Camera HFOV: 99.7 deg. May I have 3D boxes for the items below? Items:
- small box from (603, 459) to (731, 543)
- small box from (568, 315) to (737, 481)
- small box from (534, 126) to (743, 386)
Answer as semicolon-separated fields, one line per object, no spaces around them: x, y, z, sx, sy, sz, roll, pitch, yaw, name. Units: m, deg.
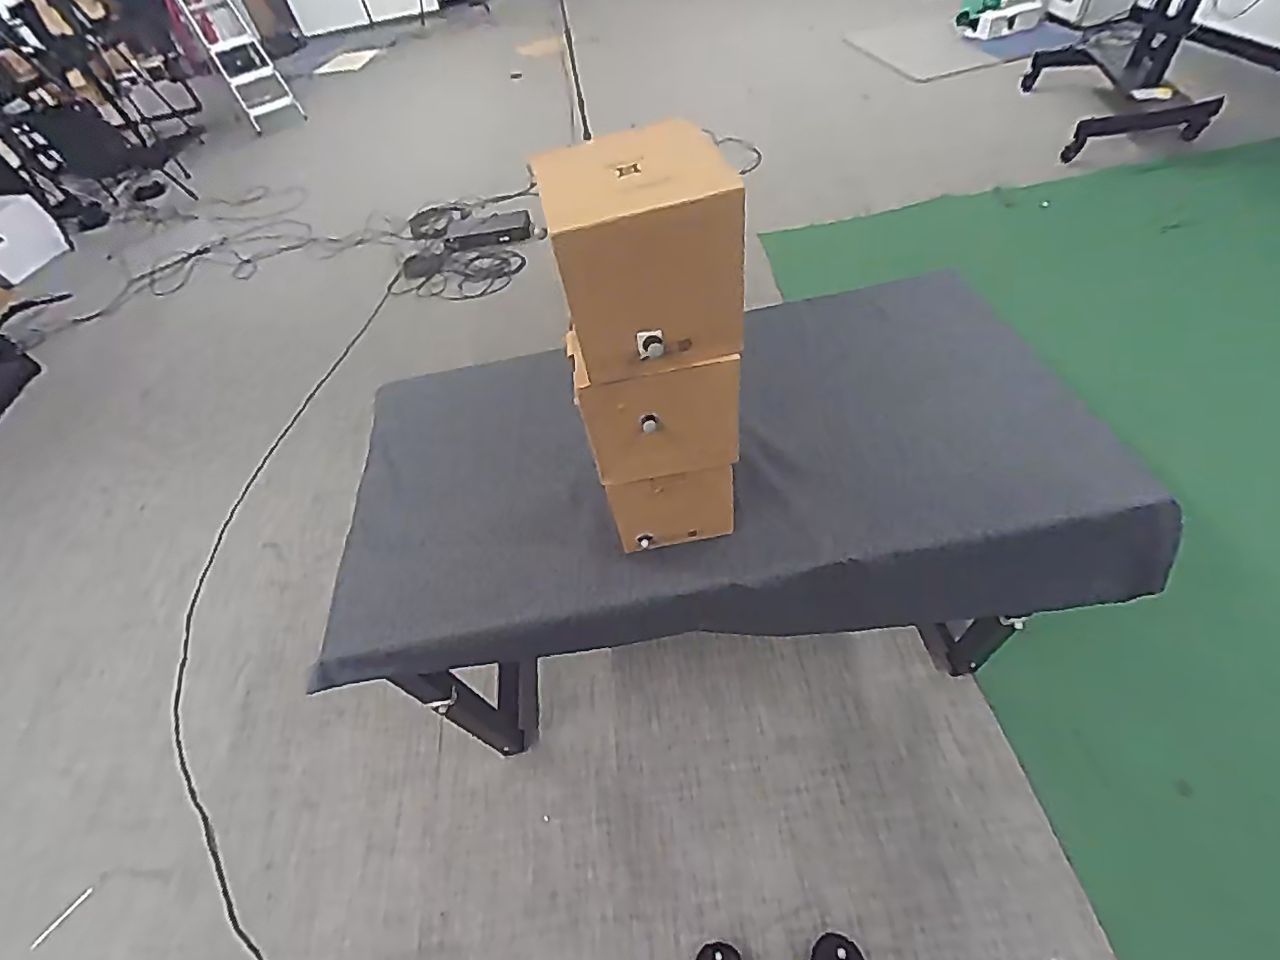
0.037;-0.022;0.807;0.168;0.176;0.179;-11;49;2;small box
0.018;-0.118;0.680;0.179;0.176;0.168;-12;48;-1;small box
-0.001;-0.226;0.555;0.168;0.176;0.179;-15;51;-1;small box
